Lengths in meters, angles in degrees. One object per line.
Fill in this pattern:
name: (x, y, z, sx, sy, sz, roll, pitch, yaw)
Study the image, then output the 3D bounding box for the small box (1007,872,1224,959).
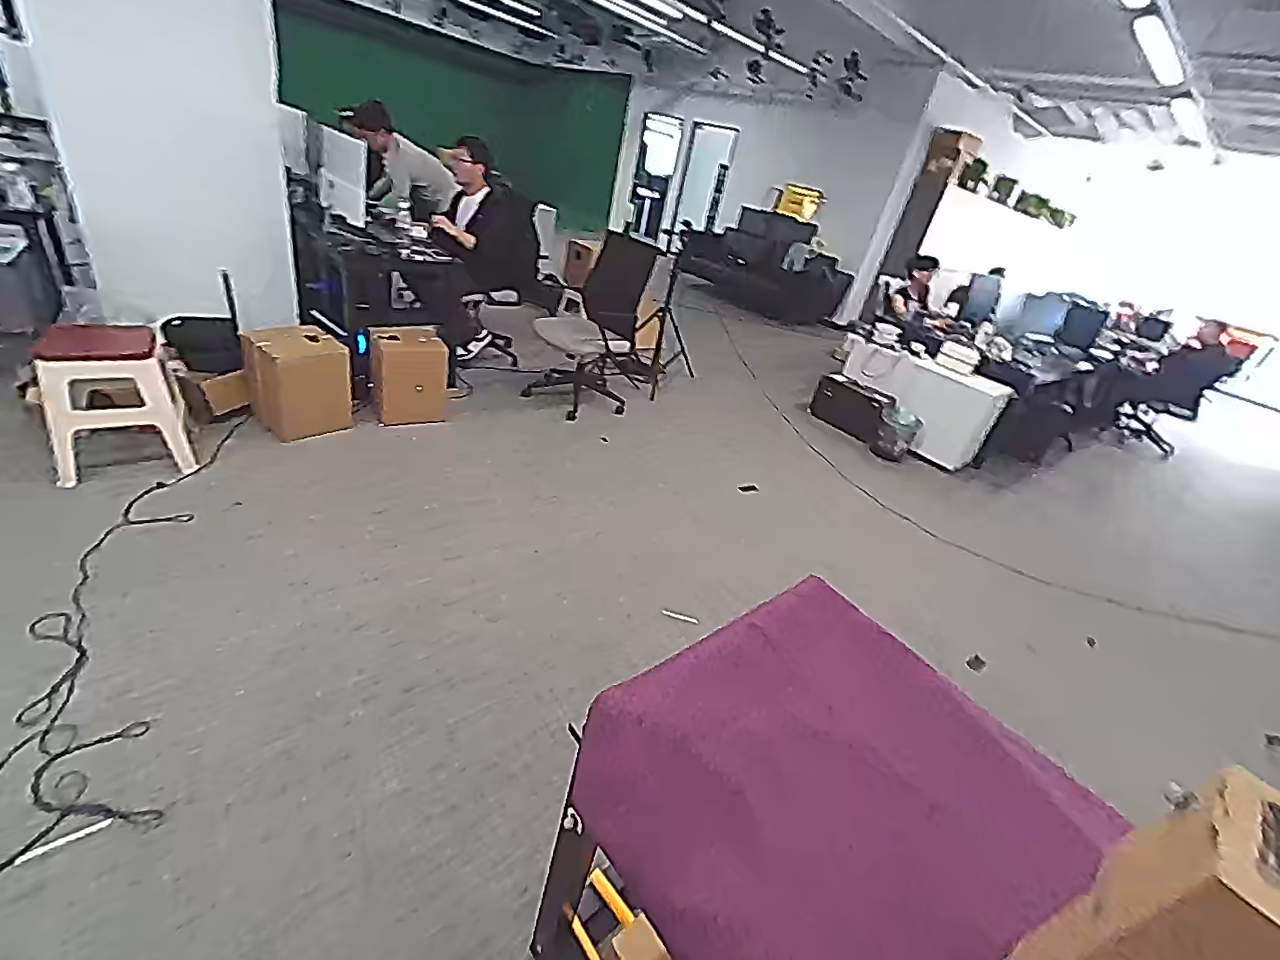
small box: (0.448, 0.517, 0.483, 0.168, 0.176, 0.179, -13, 39, -40)
